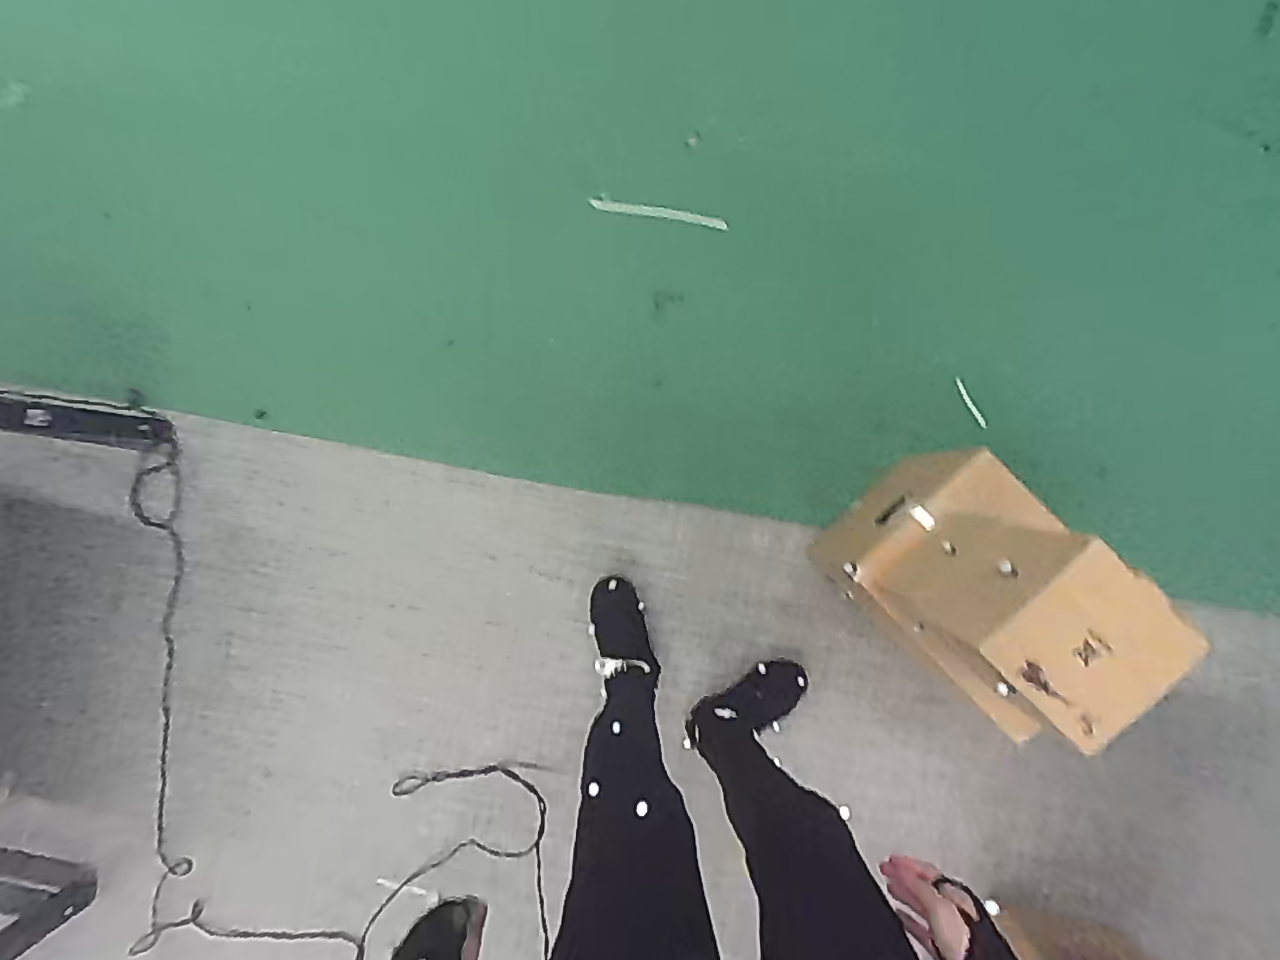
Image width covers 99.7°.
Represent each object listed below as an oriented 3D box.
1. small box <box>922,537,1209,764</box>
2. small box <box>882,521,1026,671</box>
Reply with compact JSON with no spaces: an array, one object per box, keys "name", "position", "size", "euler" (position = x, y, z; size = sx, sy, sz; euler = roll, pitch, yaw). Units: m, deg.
[{"name":"small box","position":[0.490,0.187,0.656],"size":[0.179,0.176,0.168],"euler":[-45,88,2]},{"name":"small box","position":[0.507,0.179,0.819],"size":[0.179,0.176,0.168],"euler":[-44,87,4]}]
